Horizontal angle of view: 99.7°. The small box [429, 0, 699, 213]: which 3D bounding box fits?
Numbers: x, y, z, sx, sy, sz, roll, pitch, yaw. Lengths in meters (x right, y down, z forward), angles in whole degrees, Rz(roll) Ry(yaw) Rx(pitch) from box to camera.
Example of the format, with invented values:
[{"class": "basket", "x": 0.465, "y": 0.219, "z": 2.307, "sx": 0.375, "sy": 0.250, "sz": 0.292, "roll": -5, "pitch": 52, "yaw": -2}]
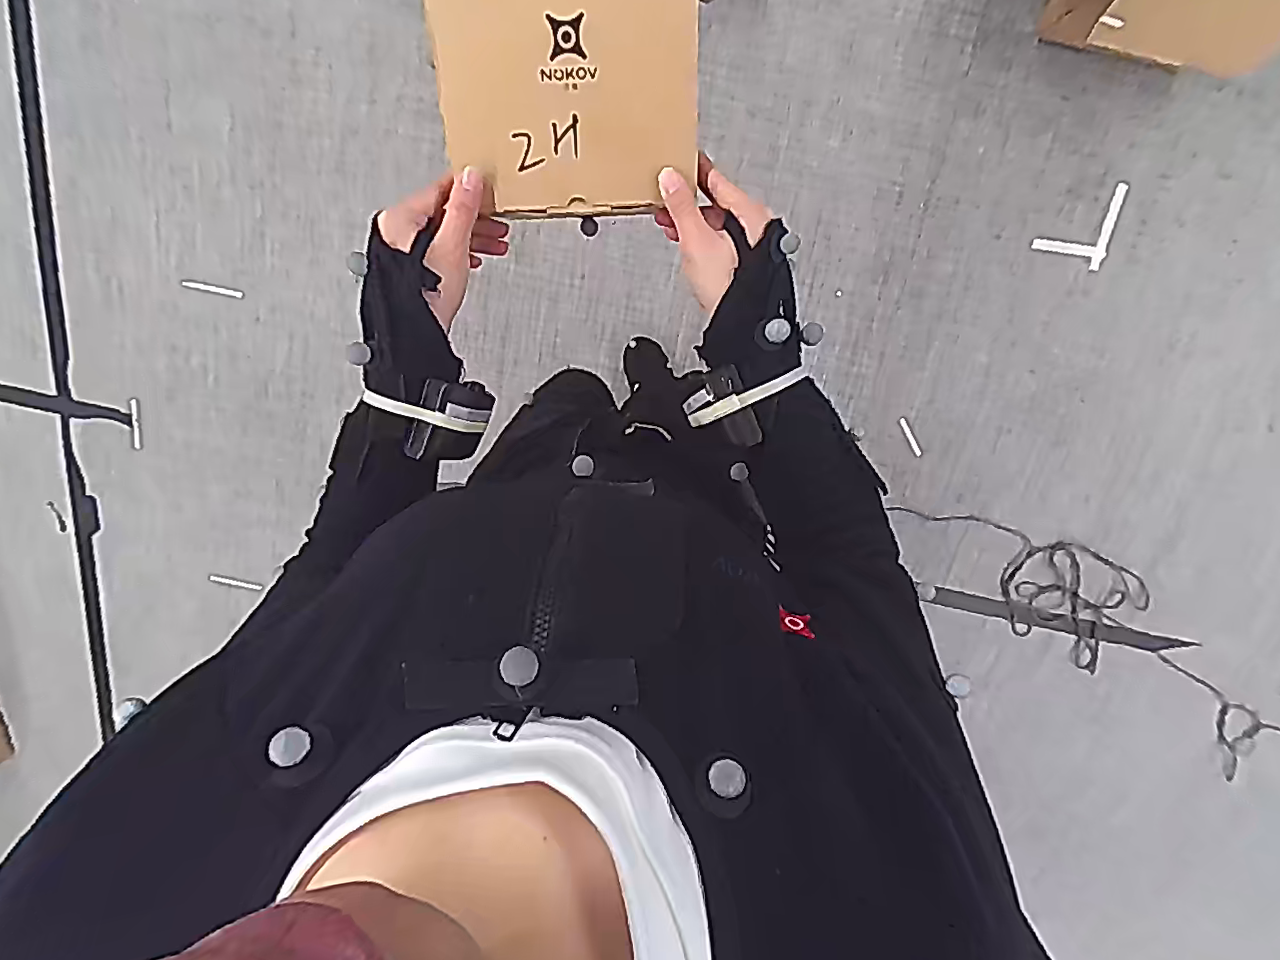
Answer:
[{"class": "small box", "x": -0.047, "y": -0.304, "z": 0.406, "sx": 0.168, "sy": 0.176, "sz": 0.179, "roll": -2, "pitch": 115, "yaw": 0}]
